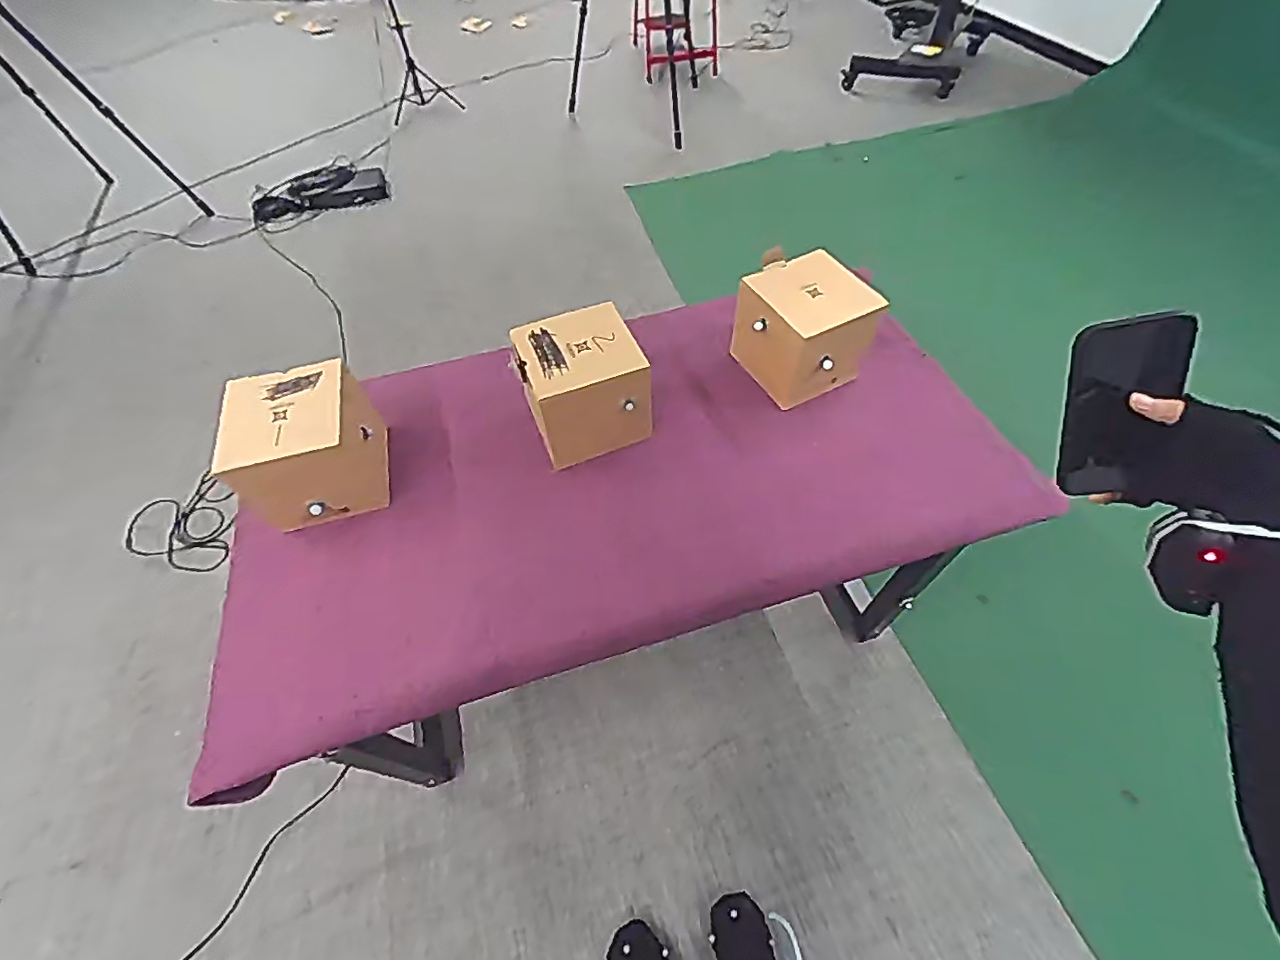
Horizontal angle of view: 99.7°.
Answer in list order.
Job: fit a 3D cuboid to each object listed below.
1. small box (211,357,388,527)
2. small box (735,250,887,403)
[{"bbox_3d":[-0.500,-0.055,0.823,0.168,0.176,0.179,-14,58,-7],"label":"small box"},{"bbox_3d":[0.281,-0.256,0.934,0.168,0.176,0.179,-24,58,-13],"label":"small box"}]
